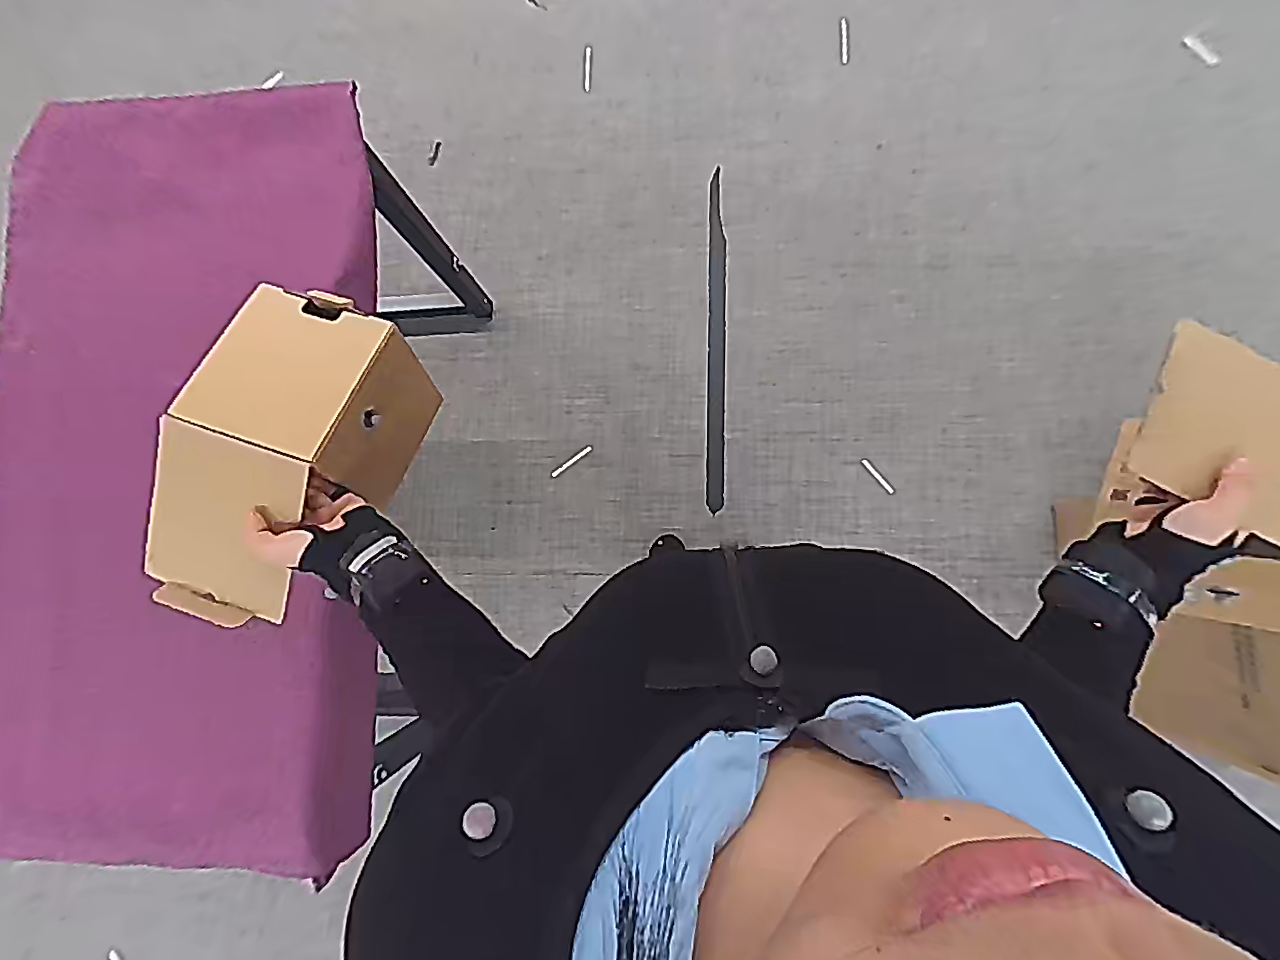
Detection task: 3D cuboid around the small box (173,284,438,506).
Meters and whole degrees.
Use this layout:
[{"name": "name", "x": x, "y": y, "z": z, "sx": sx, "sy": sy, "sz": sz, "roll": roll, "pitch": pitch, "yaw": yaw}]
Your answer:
[{"name": "small box", "x": -0.364, "y": -0.088, "z": 0.633, "sx": 0.168, "sy": 0.176, "sz": 0.179, "roll": 18, "pitch": 69, "yaw": 6}]
